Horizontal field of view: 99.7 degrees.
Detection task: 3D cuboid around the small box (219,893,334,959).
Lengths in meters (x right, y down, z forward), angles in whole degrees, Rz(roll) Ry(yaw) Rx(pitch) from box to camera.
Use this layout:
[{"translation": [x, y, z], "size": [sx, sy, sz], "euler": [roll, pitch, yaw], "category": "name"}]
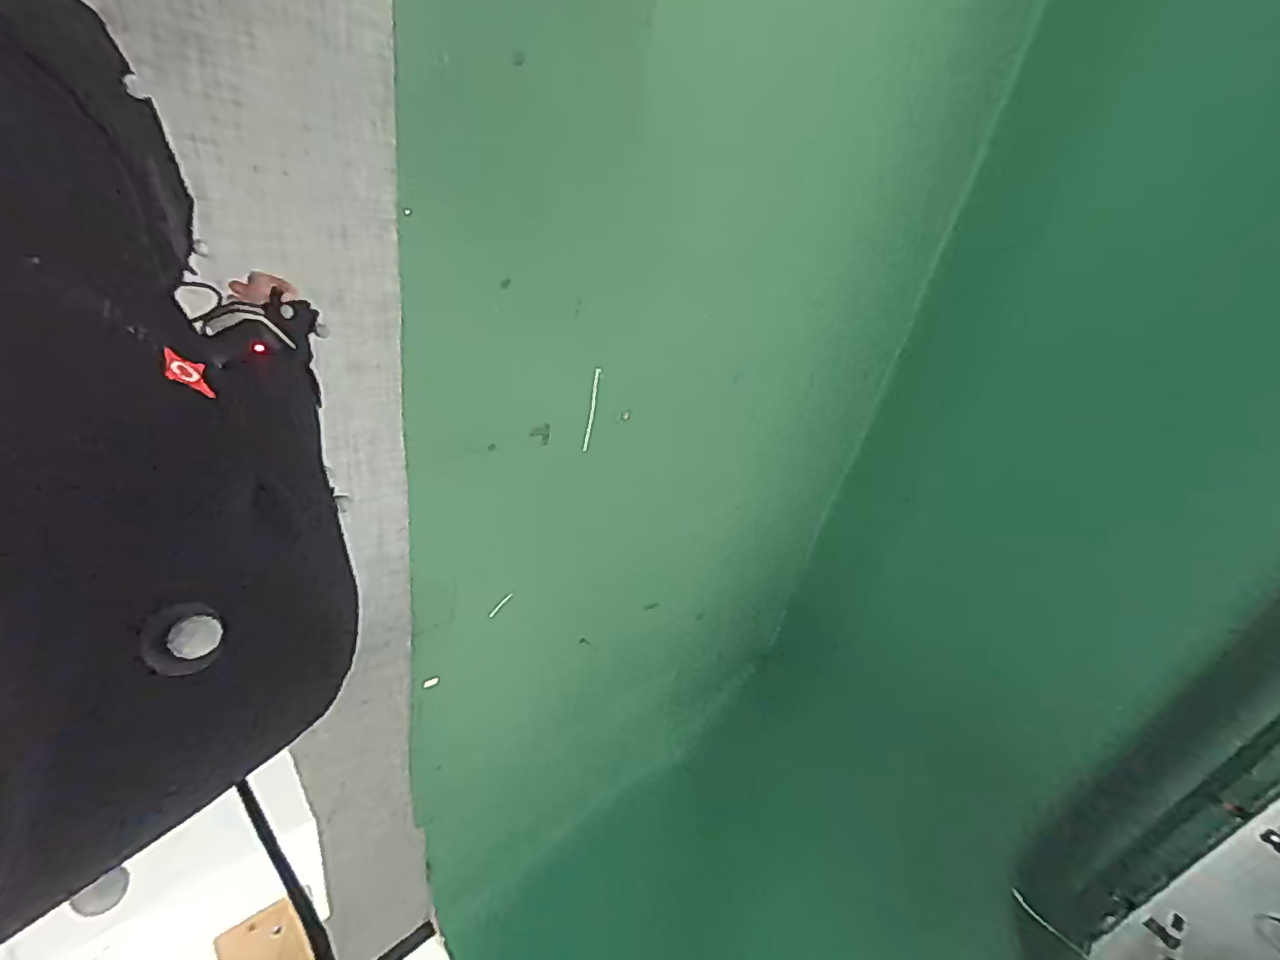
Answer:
[{"translation": [-0.724, 0.993, 1.089], "size": [0.168, 0.176, 0.179], "euler": [-15, 126, -41], "category": "small box"}]
